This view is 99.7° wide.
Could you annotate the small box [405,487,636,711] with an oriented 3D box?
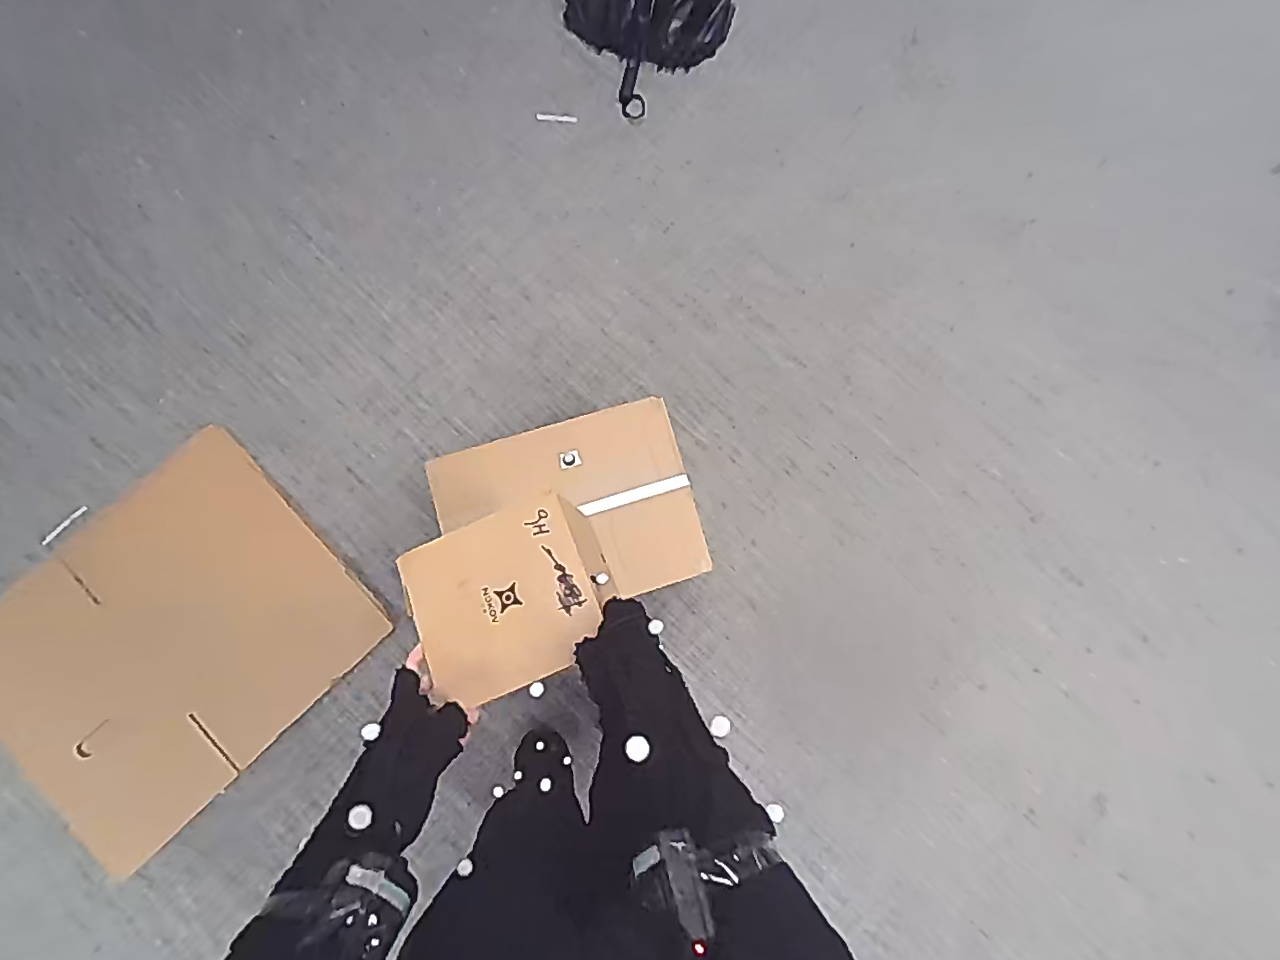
[{"bbox_3d":[-0.122,0.136,0.608,0.179,0.176,0.168,-27,72,-1],"label":"small box"}]
